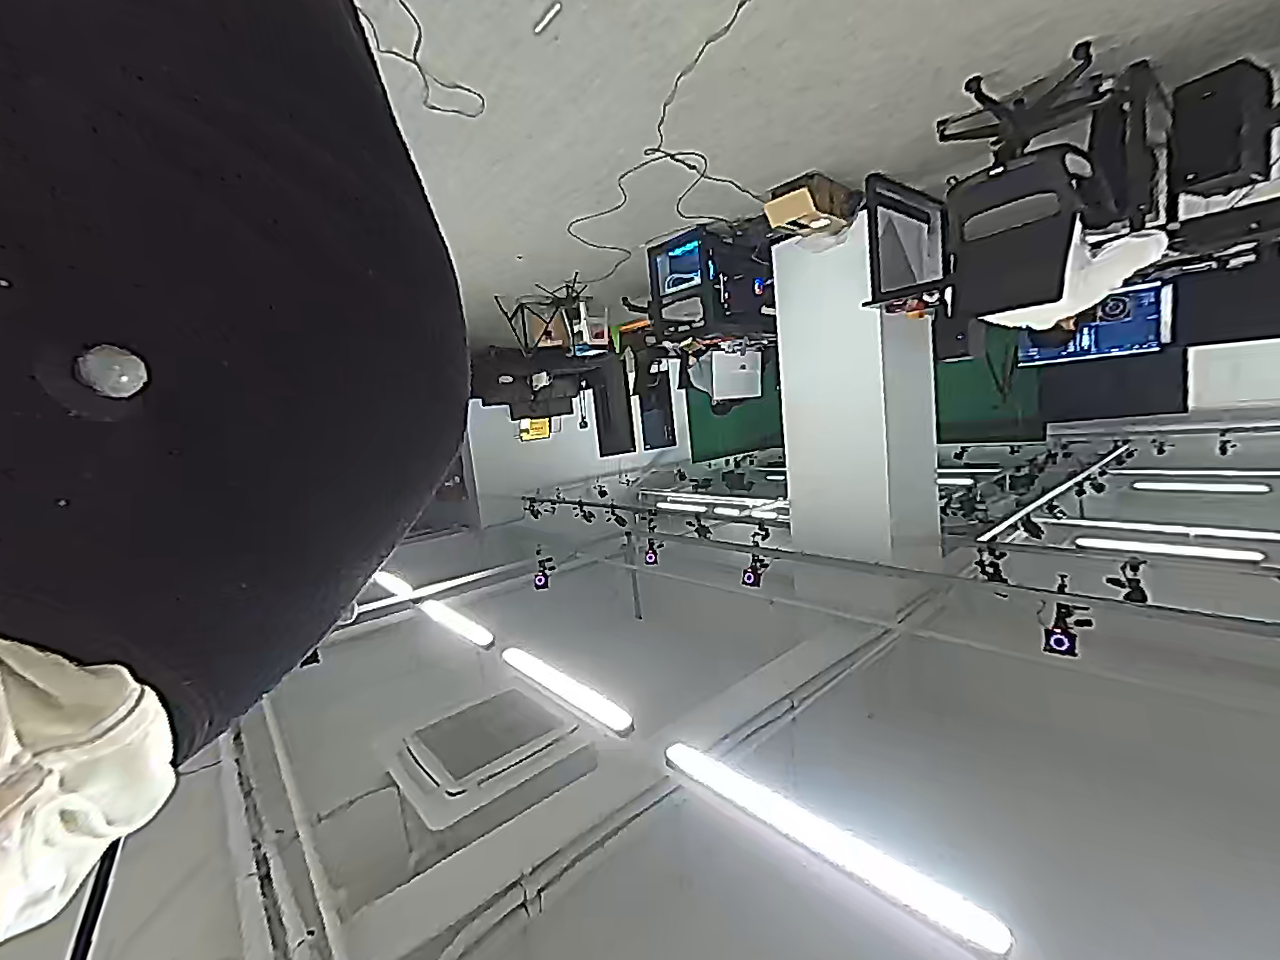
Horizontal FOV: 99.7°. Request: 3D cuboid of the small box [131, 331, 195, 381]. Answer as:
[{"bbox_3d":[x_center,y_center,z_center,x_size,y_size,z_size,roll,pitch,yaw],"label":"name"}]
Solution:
[{"bbox_3d":[-1.906,-0.491,2.158,0.168,0.176,0.179,-12,-171,-42],"label":"small box"}]
